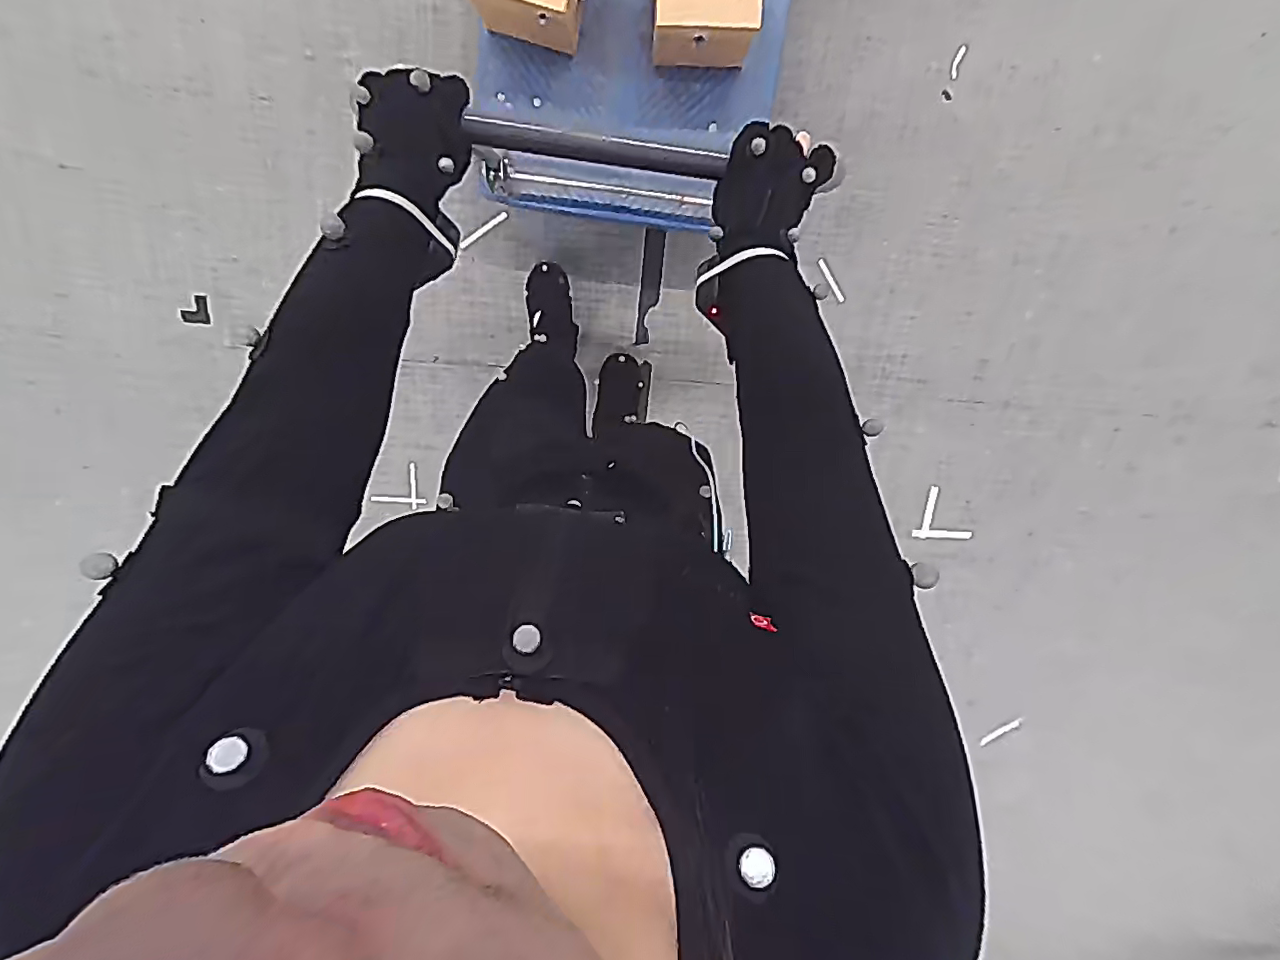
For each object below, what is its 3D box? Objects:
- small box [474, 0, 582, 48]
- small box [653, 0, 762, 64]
[{"bbox_3d":[-0.190,-0.878,0.915,0.179,0.176,0.168,12,109,-6],"label":"small box"},{"bbox_3d":[0.112,-0.845,0.929,0.179,0.176,0.168,1,110,-1],"label":"small box"}]
